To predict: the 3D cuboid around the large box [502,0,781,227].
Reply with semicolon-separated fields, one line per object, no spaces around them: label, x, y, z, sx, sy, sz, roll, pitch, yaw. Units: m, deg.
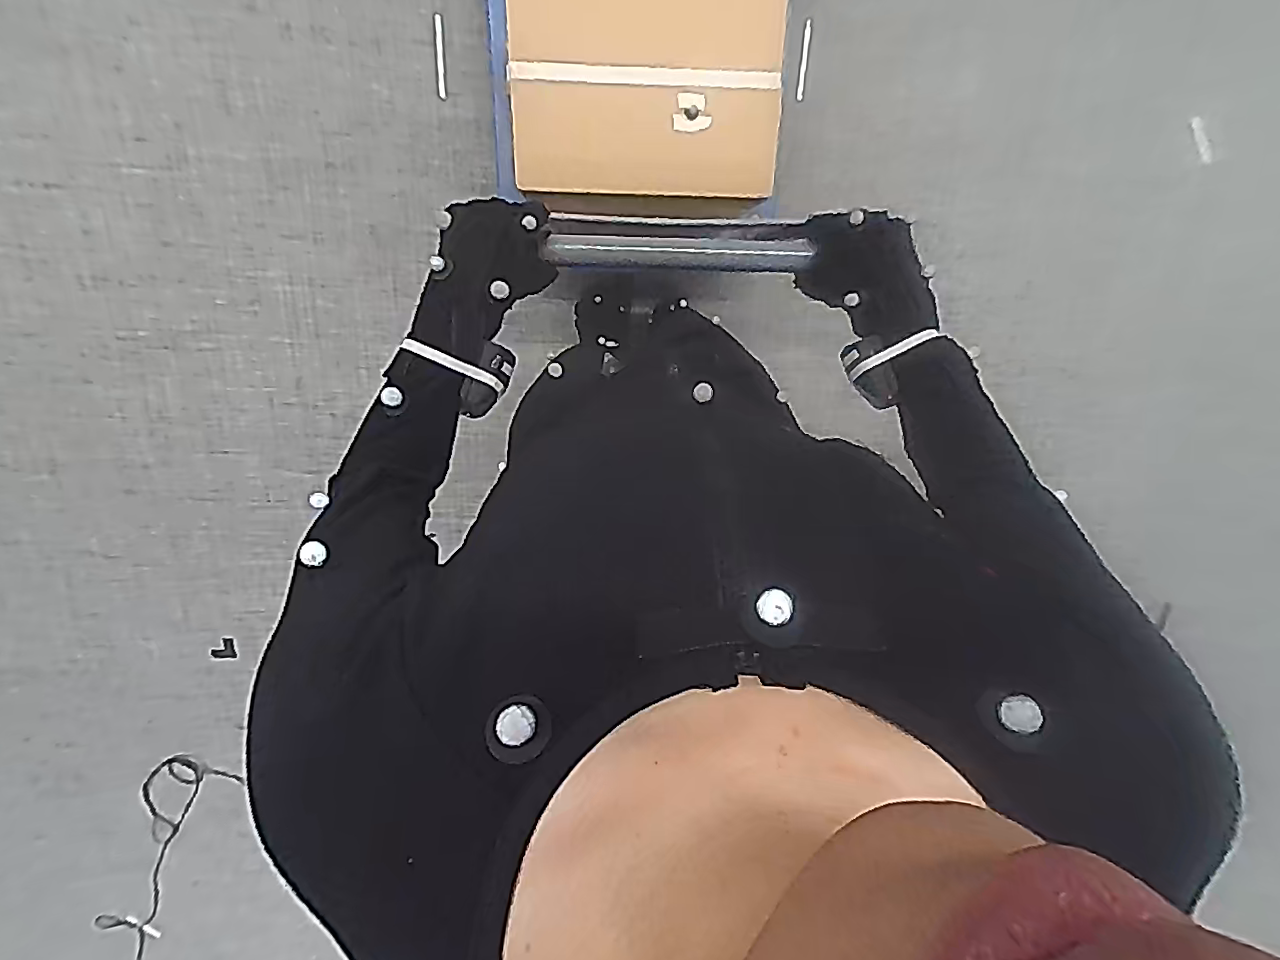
large box;-0.008;-0.628;0.940;0.408;0.320;0.320;-1;109;-5
